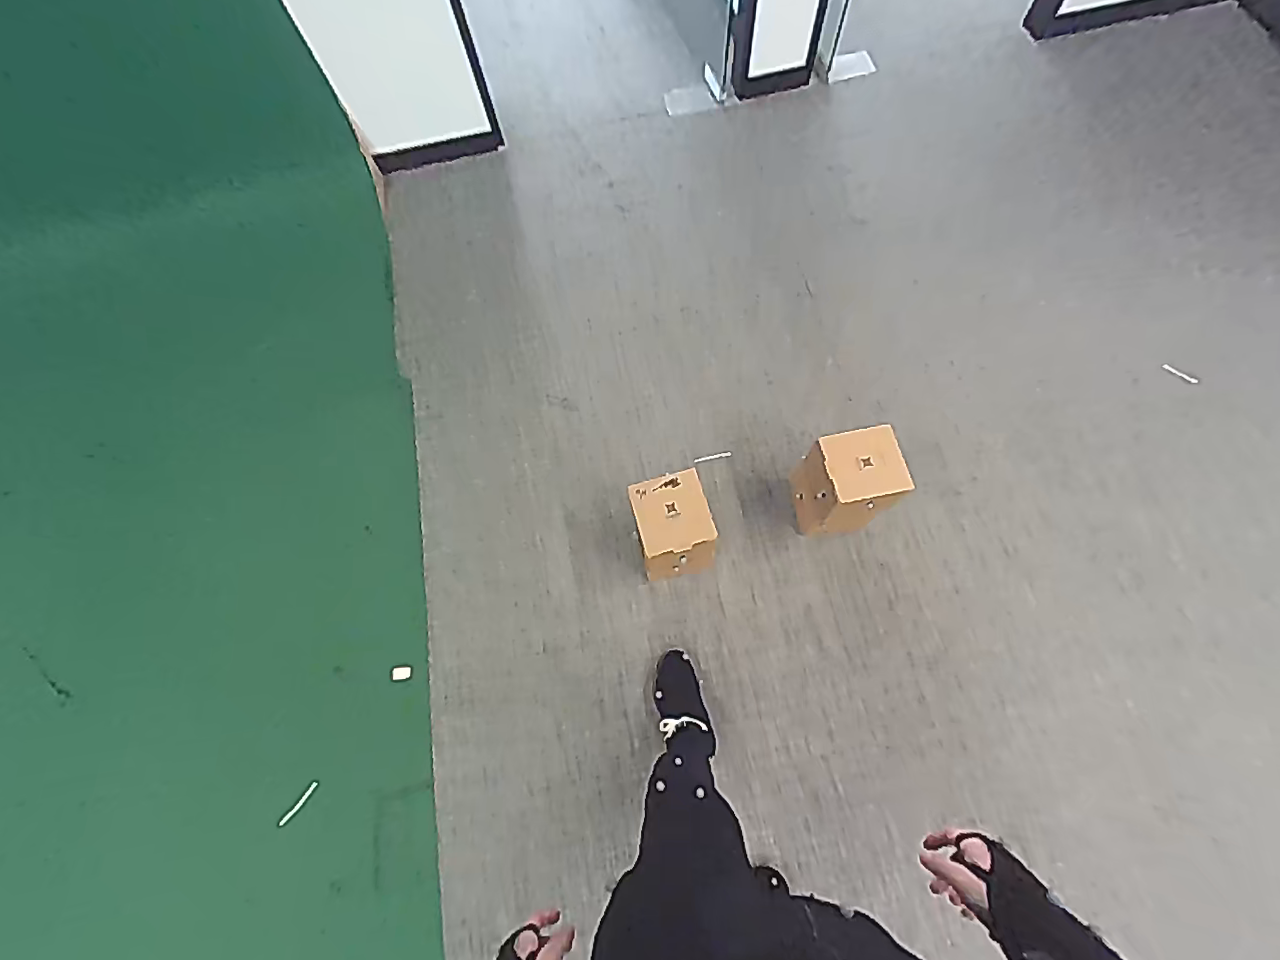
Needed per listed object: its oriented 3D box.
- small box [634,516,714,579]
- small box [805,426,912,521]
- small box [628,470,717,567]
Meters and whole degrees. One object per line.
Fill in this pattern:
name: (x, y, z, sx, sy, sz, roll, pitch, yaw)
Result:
small box: (0.088, 0.157, 1.442, 0.179, 0.176, 0.168, -12, 70, -2)
small box: (0.513, -0.009, 1.305, 0.179, 0.176, 0.168, -11, 70, -2)
small box: (0.077, 0.100, 1.289, 0.168, 0.176, 0.179, -15, 70, -3)
